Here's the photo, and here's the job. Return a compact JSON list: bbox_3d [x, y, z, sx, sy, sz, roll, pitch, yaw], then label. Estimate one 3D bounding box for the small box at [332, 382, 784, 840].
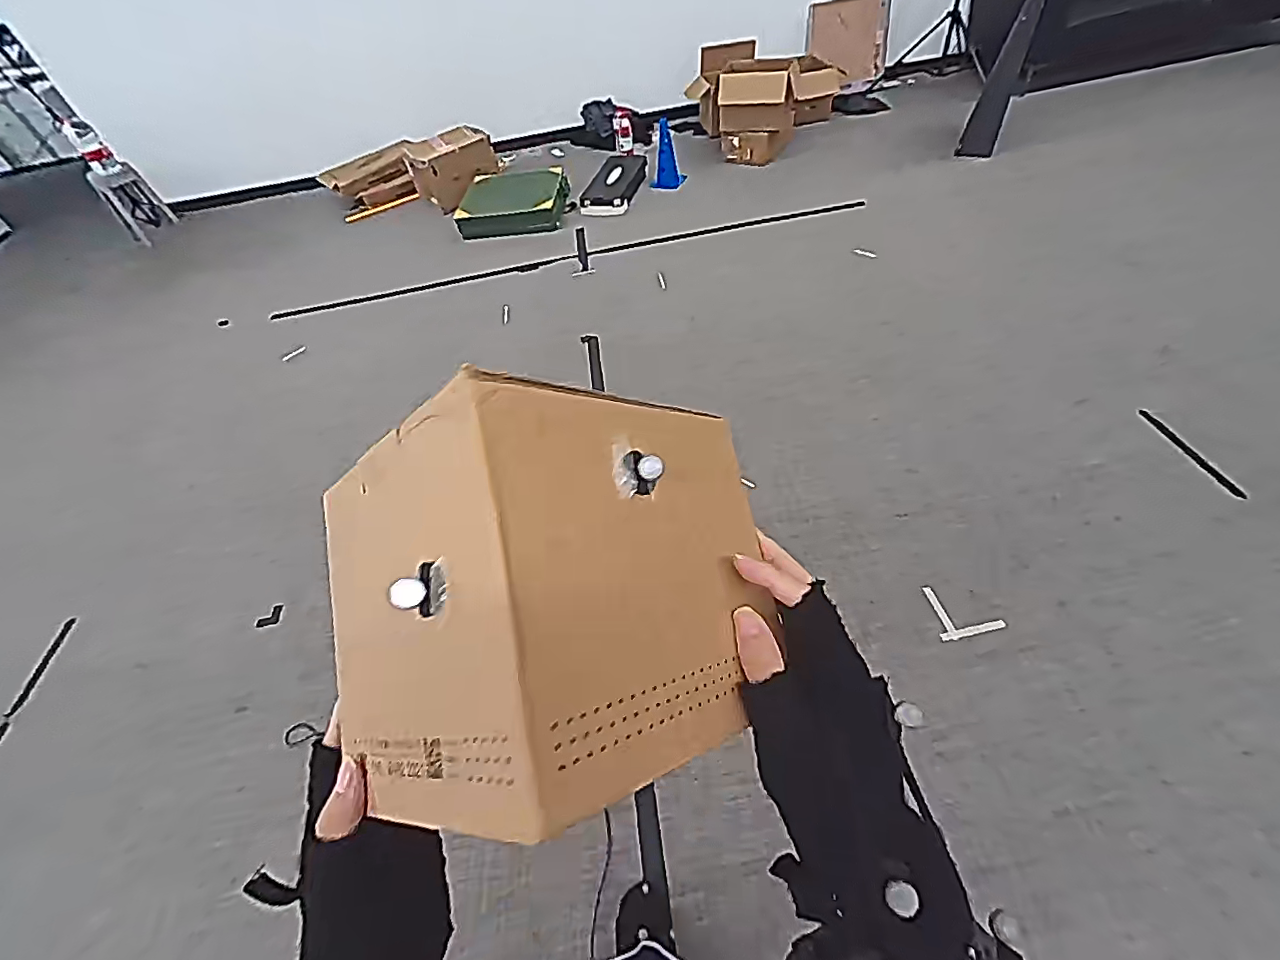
[{"bbox_3d":[-0.043,0.070,0.299,0.168,0.179,0.176,-24,72,39],"label":"small box"}]
